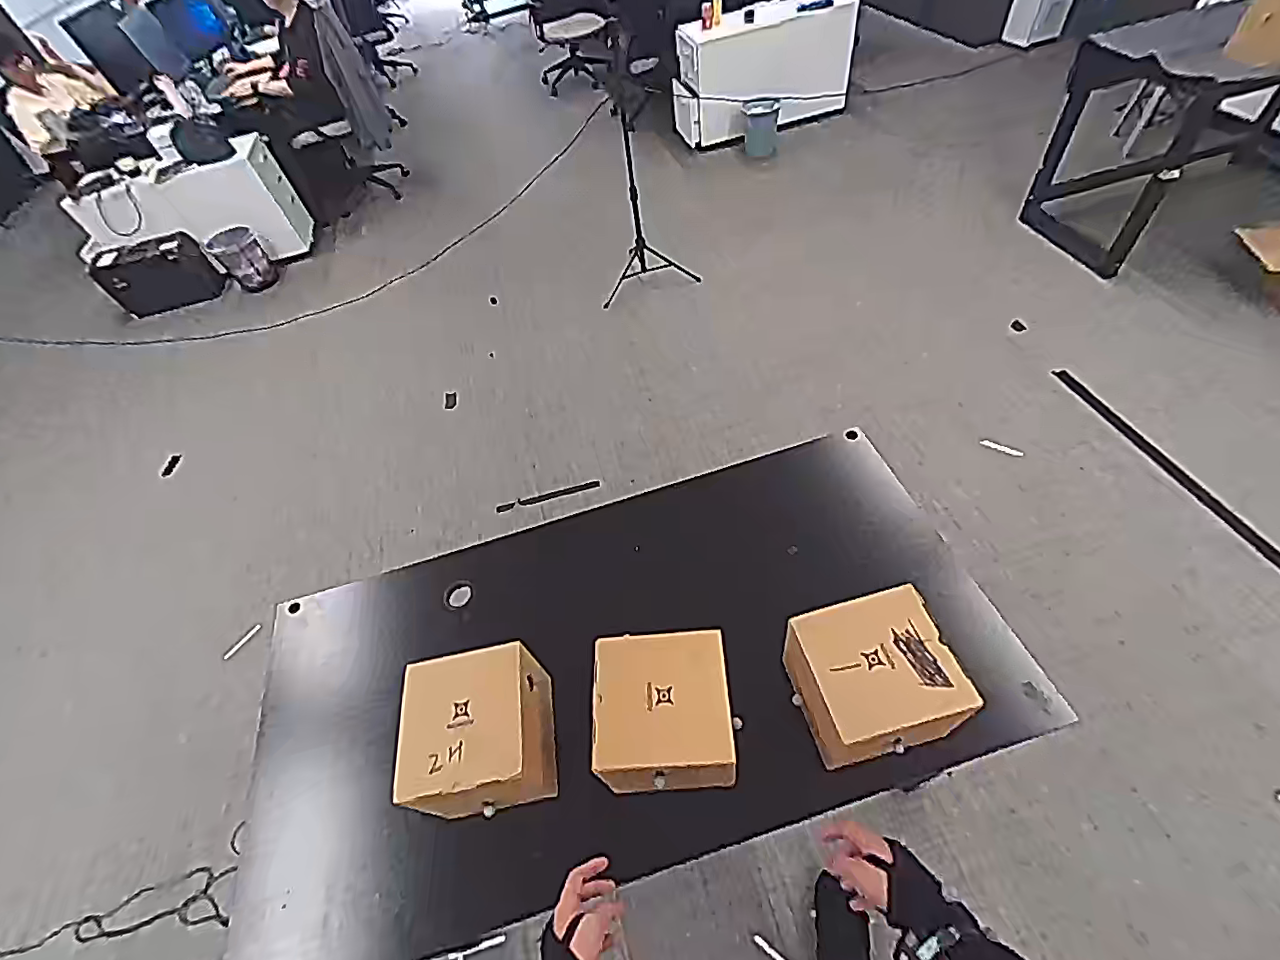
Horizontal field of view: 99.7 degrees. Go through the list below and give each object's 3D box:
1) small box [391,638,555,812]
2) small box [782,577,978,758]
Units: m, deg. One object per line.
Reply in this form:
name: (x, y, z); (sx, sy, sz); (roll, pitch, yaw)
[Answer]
small box: (-0.226, 0.352, 0.771); (0.168, 0.176, 0.179); (-13, 53, 1)
small box: (0.309, 0.261, 0.742); (0.179, 0.176, 0.168); (-17, 52, -1)
